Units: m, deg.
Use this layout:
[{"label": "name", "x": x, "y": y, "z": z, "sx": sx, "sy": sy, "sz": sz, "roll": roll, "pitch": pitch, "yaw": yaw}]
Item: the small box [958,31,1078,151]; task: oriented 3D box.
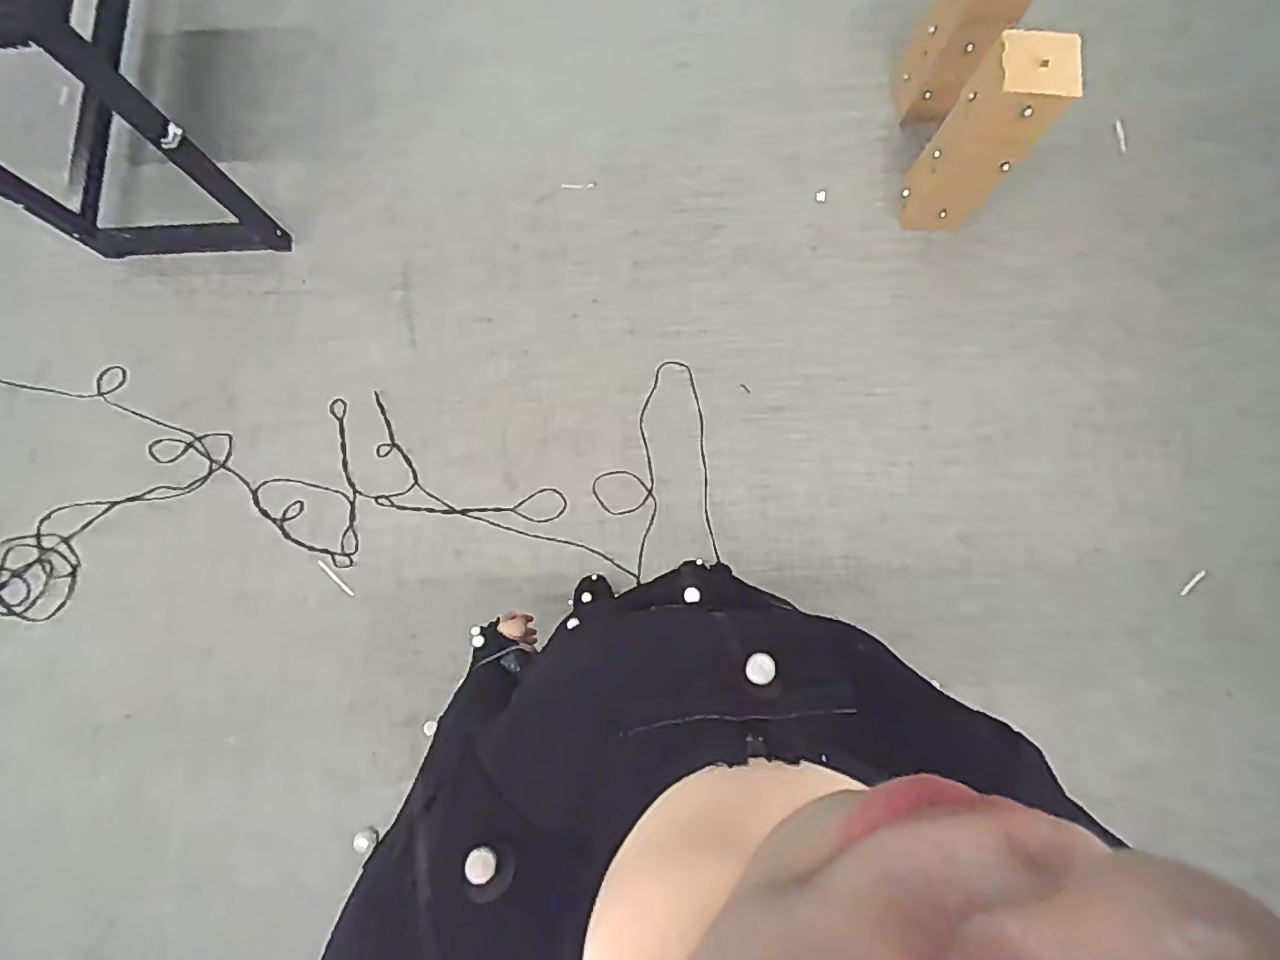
[{"label": "small box", "x": 0.902, "y": -0.927, "z": 1.302, "sx": 0.179, "sy": 0.176, "sz": 0.168, "roll": 5, "pitch": 81, "yaw": 1}]

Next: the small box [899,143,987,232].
[{"label": "small box", "x": 0.905, "y": -0.872, "z": 1.625, "sx": 0.179, "sy": 0.176, "sz": 0.168, "roll": 4, "pitch": 80, "yaw": 2}]

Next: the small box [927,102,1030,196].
[{"label": "small box", "x": 0.908, "y": -0.896, "z": 1.462, "sx": 0.179, "sy": 0.176, "sz": 0.168, "roll": 2, "pitch": 80, "yaw": 1}]
